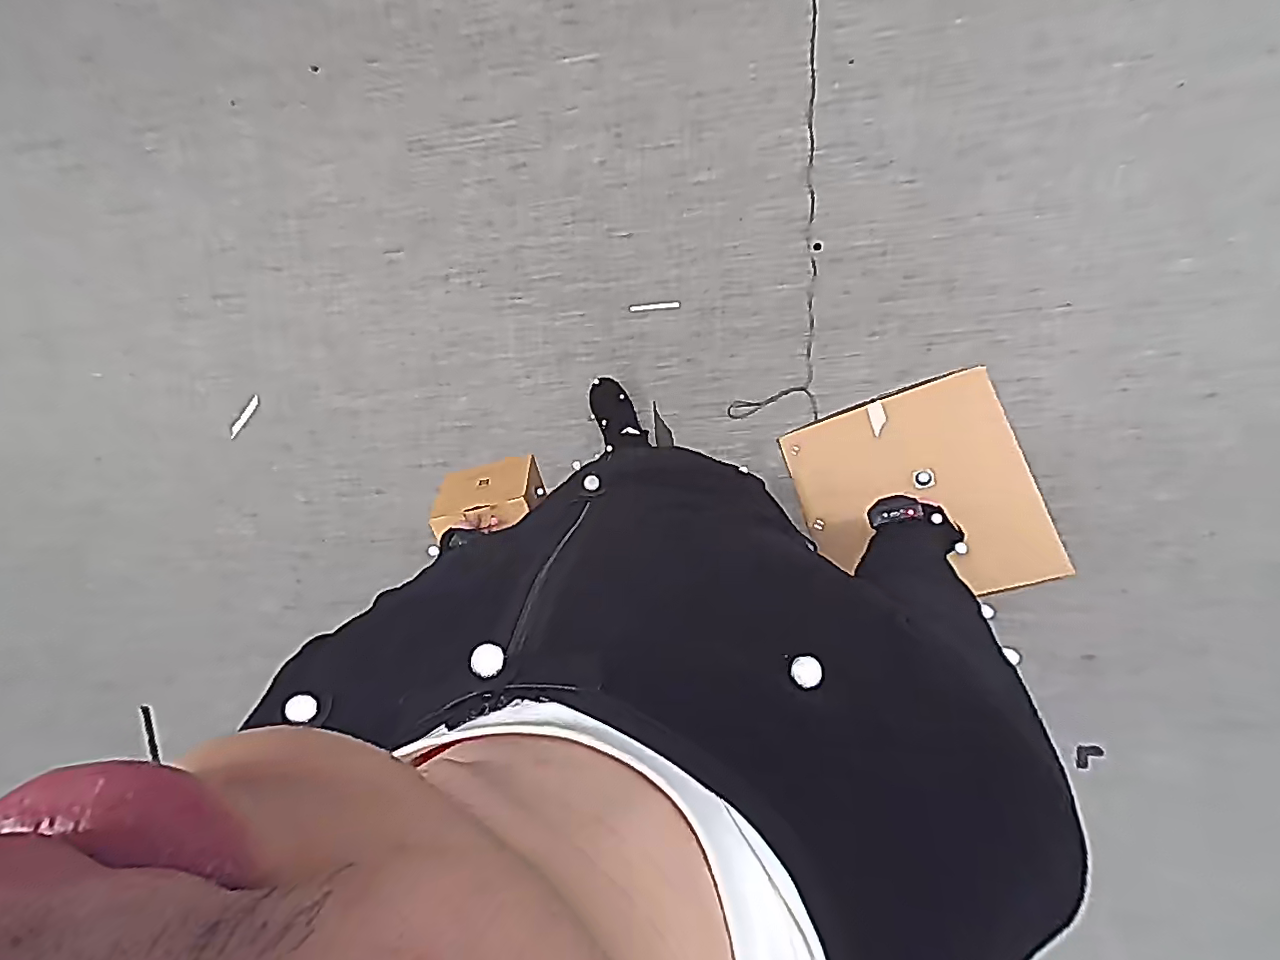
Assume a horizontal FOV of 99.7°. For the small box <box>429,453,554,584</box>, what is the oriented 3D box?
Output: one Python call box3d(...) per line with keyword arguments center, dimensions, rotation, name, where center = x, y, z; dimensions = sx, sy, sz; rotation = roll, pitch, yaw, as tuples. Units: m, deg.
box3d(center=(-0.263, 0.075, 1.004), dimensions=(0.168, 0.179, 0.176), rotation=(-13, 118, 0), name="small box")
